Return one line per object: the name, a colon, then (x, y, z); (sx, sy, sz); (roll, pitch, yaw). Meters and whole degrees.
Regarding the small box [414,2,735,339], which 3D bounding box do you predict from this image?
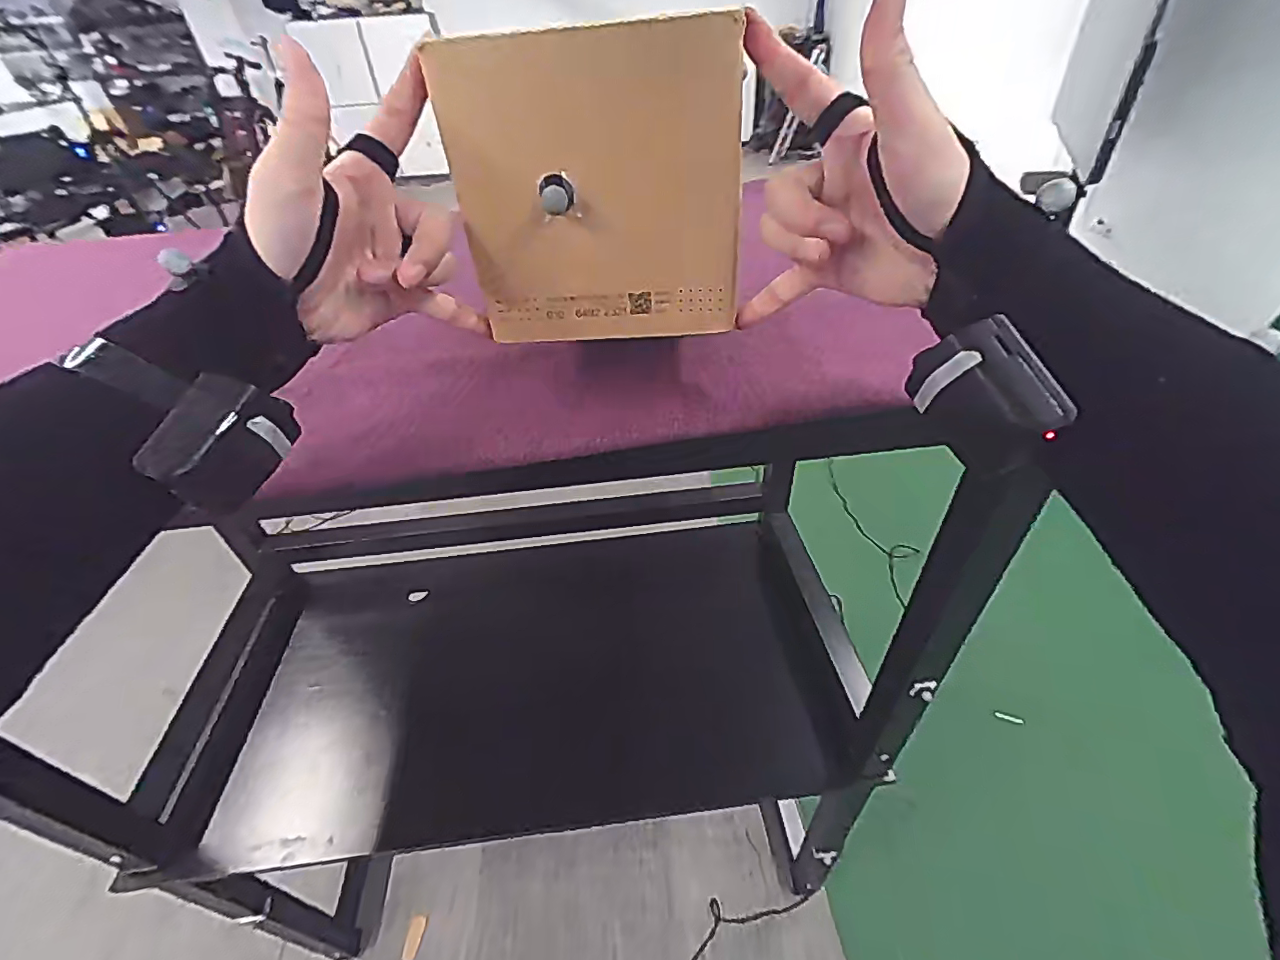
small box: (-0.022, -0.207, 0.376); (0.168, 0.176, 0.179); (-2, 39, 5)
